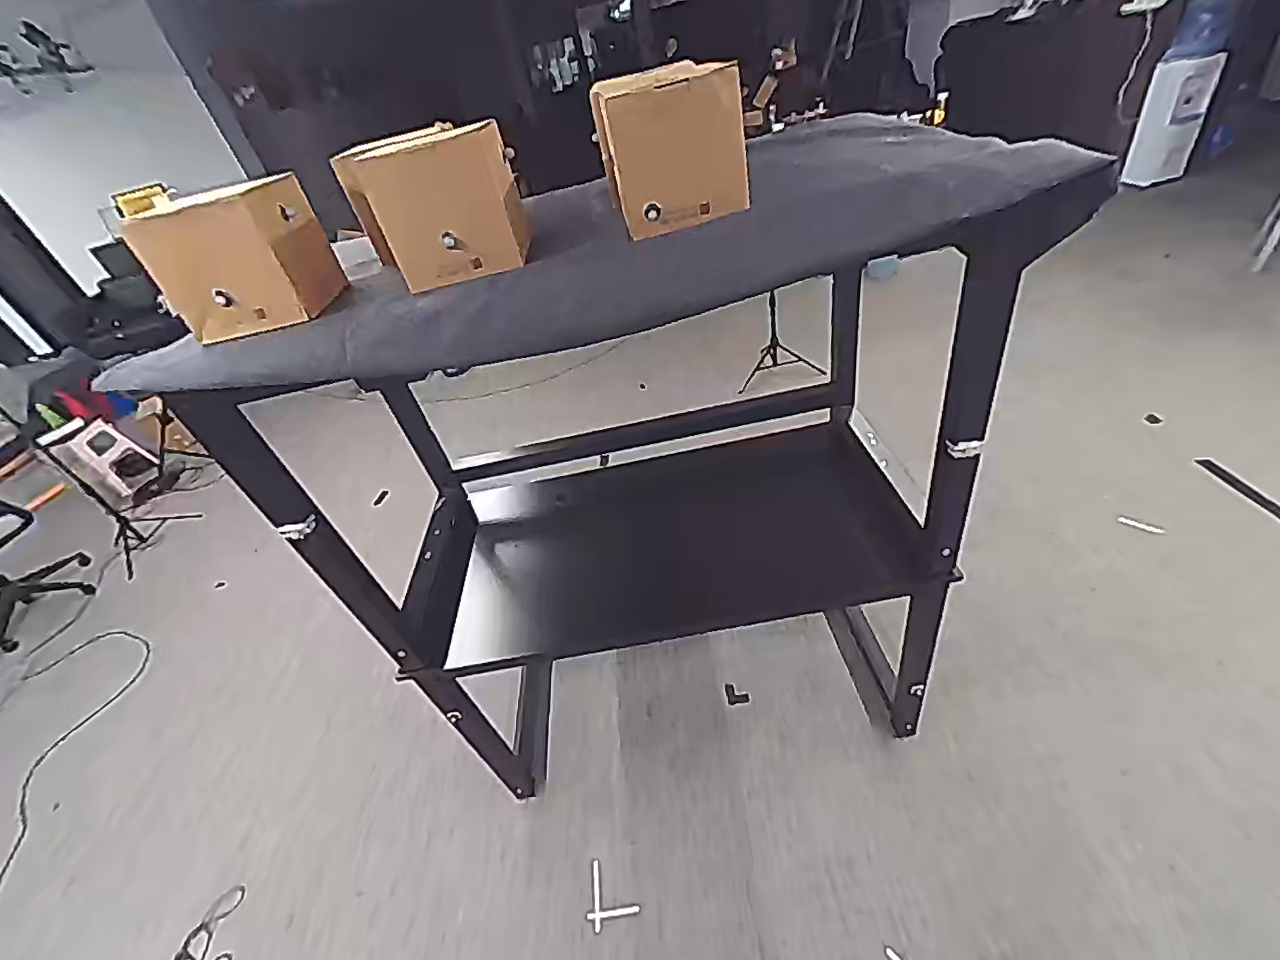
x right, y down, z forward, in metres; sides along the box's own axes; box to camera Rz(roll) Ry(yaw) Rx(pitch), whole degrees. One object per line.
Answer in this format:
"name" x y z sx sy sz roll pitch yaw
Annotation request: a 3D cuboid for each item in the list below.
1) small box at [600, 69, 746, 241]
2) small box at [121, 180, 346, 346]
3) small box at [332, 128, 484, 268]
"small box" 0.046 -0.452 0.760 0.168 0.176 0.179 -13 38 2
"small box" -0.561 -0.314 0.783 0.168 0.176 0.179 -13 38 1
"small box" -0.391 -0.496 0.951 0.179 0.176 0.168 -13 38 1
